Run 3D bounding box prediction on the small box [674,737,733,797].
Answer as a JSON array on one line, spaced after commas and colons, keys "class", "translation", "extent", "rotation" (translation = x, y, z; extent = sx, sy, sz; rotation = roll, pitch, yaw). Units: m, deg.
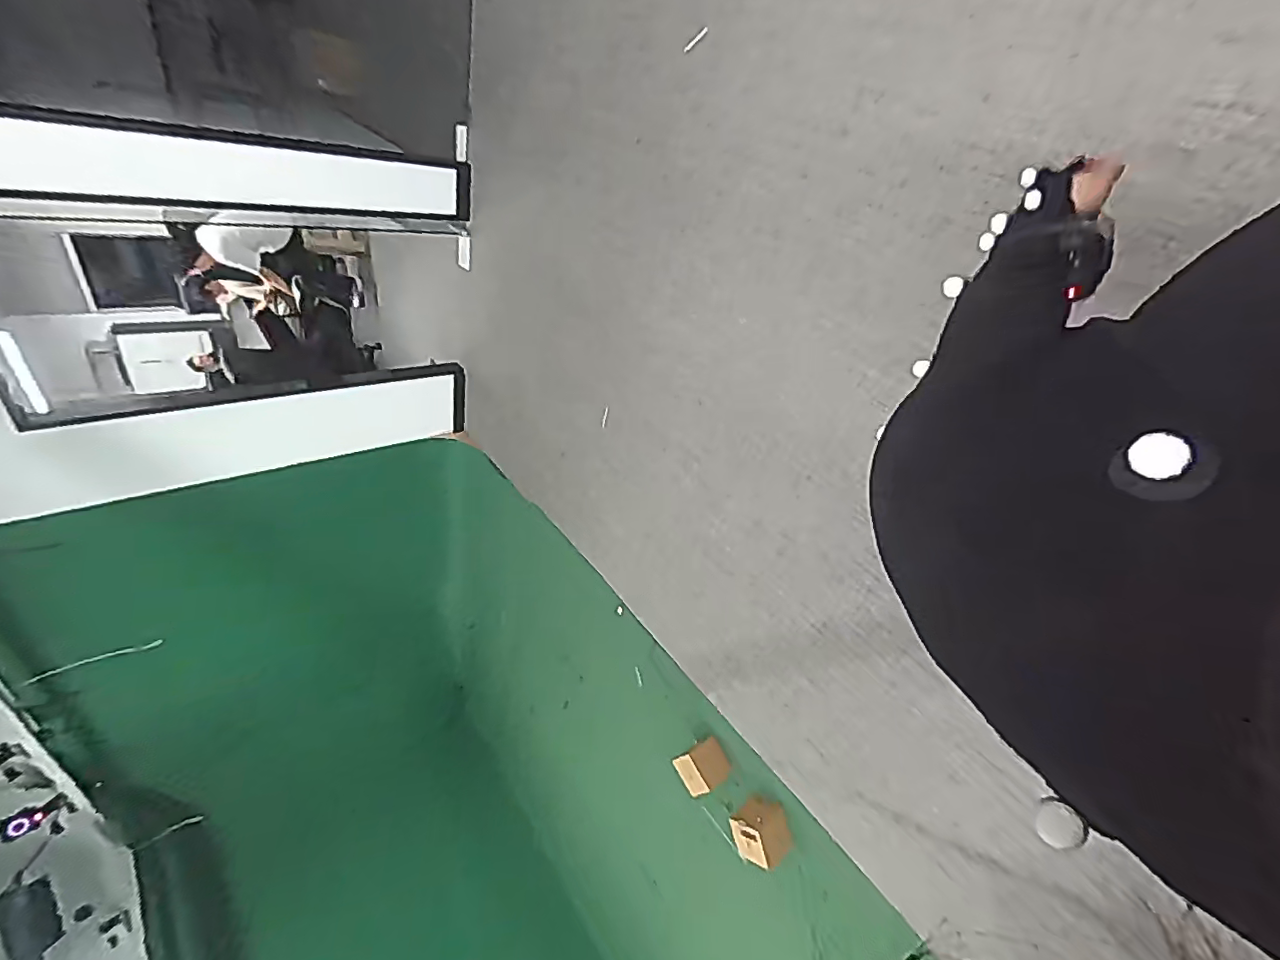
[{"class": "small box", "translation": [0.295, 1.311, 2.474], "extent": [0.179, 0.176, 0.168], "rotation": [57, 139, 19]}]
